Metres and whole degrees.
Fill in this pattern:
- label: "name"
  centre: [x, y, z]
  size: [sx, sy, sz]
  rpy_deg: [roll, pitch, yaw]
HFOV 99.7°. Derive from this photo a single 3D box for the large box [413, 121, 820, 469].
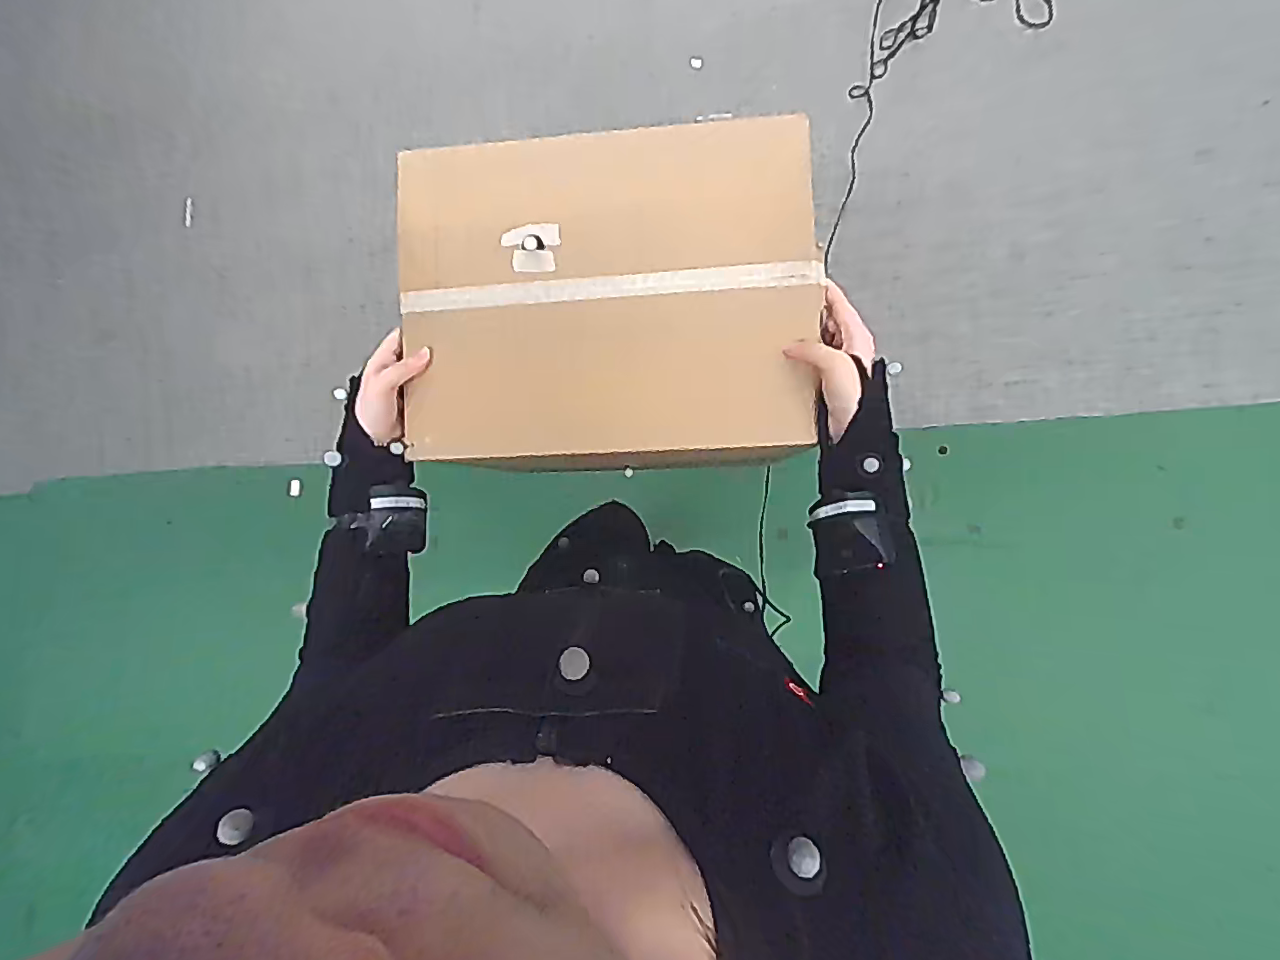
- label: "large box"
  centre: [-0.015, -0.179, 0.683]
  size: [0.408, 0.320, 0.320]
  rpy_deg: [-2, 88, 7]
